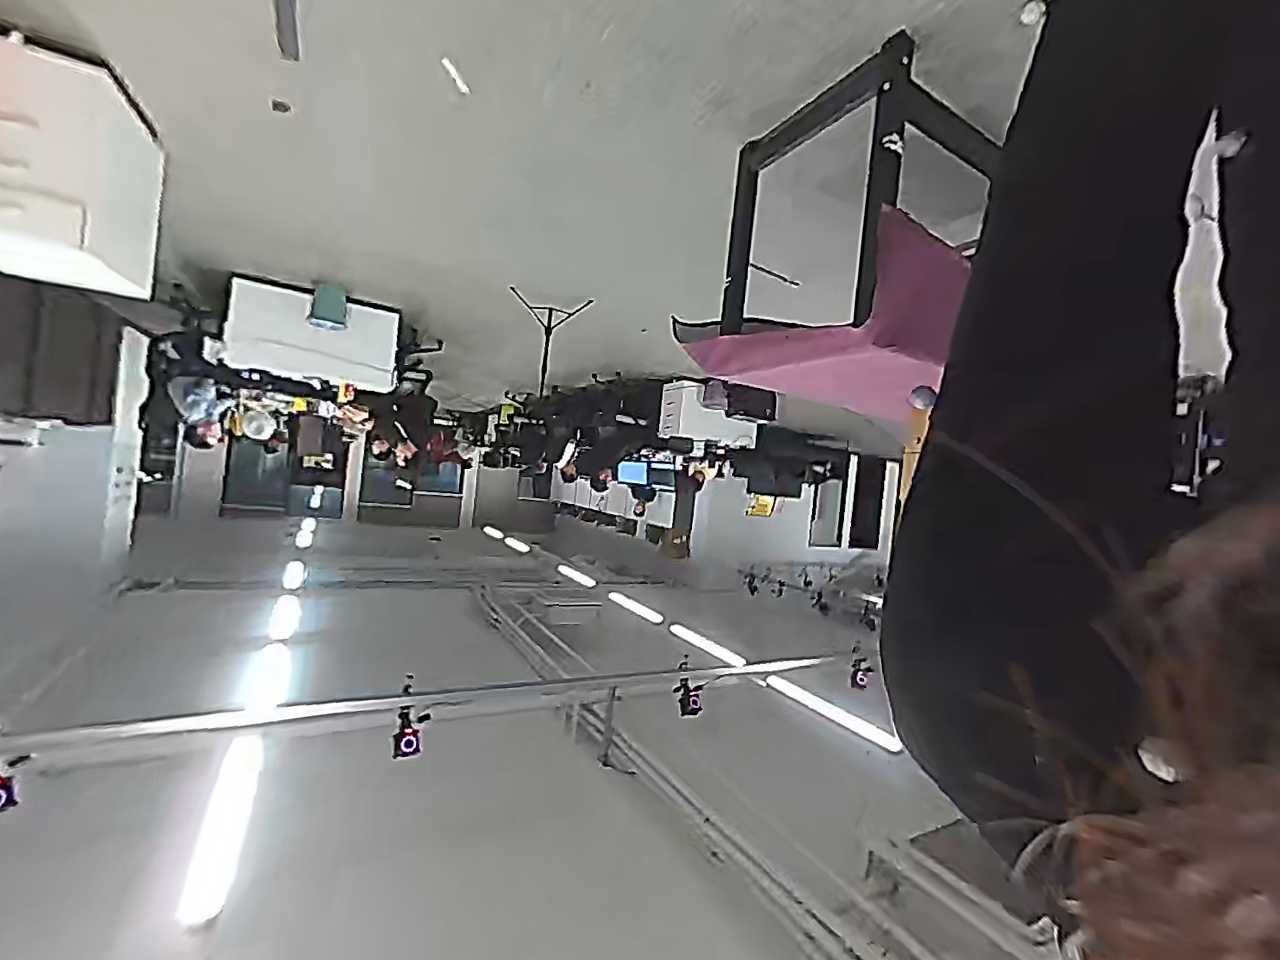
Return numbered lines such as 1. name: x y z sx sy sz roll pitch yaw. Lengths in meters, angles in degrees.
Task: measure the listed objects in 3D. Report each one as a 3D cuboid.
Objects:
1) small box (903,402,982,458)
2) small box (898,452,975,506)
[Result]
1. small box: 1.044 -0.171 1.864 0.168 0.176 0.179 6 180 -30
2. small box: 1.026 -0.008 1.865 0.168 0.176 0.179 7 -179 -26
